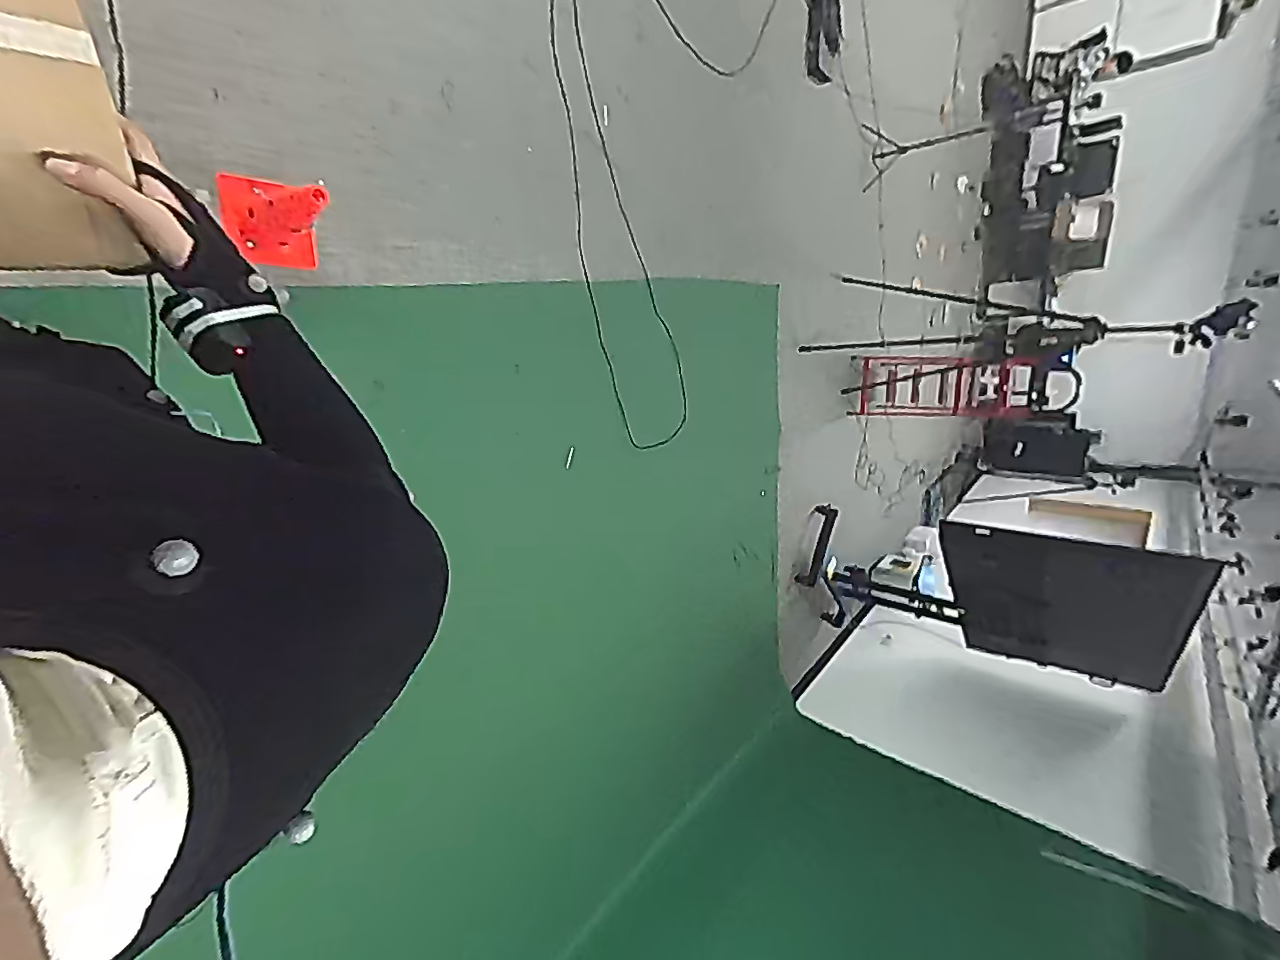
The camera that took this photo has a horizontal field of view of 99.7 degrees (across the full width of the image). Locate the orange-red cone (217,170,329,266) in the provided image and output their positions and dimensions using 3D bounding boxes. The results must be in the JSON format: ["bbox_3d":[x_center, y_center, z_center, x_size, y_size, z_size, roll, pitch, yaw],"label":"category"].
[{"bbox_3d":[-0.809,-0.630,1.256,0.199,0.360,0.198,-14,109,-48],"label":"orange-red cone"}]
